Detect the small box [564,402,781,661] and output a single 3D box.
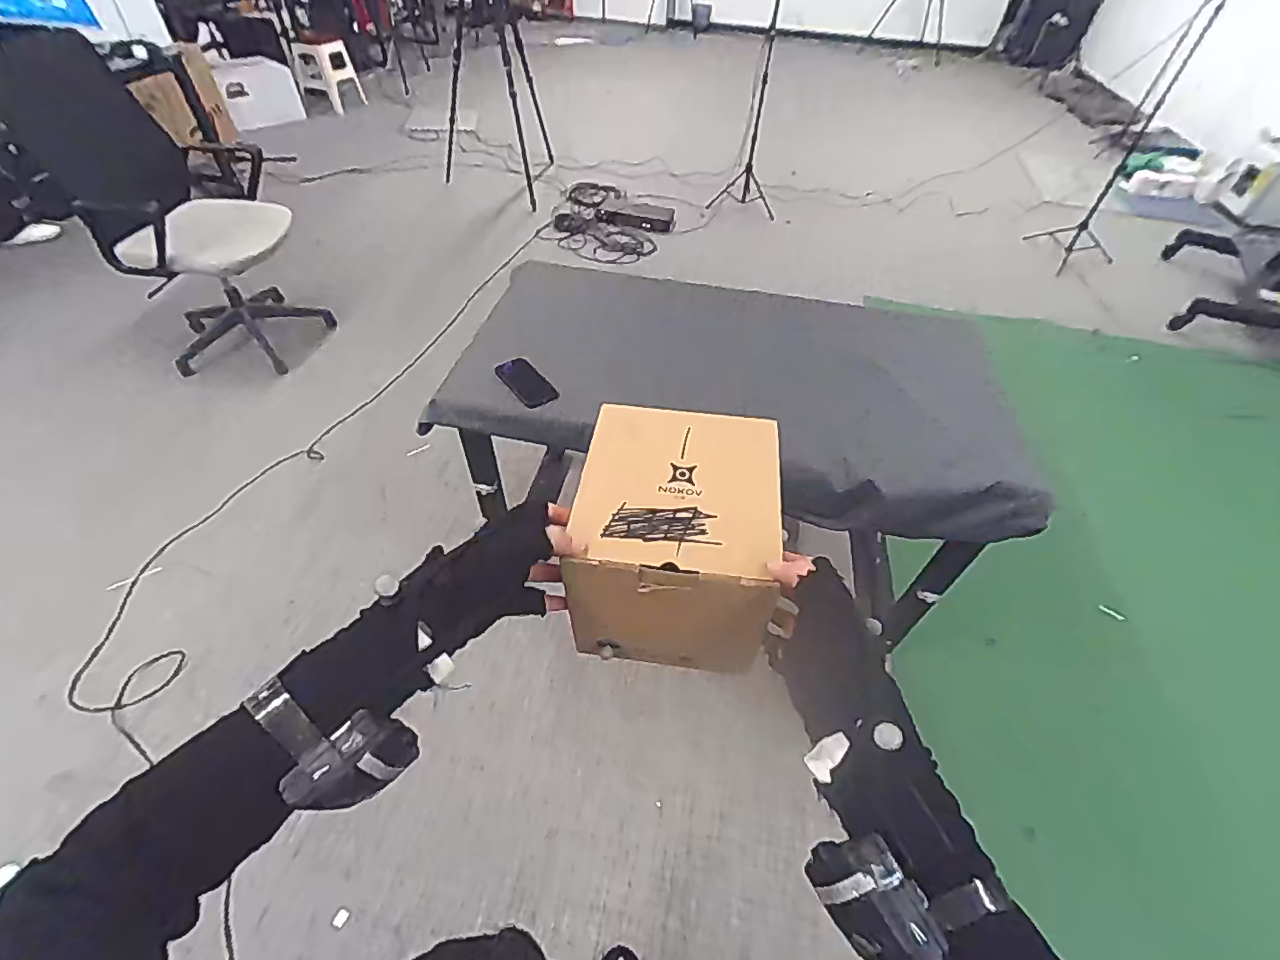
[{"bbox_3d":[0.035,0.051,0.512,0.168,0.176,0.179,6,48,5],"label":"small box"}]
